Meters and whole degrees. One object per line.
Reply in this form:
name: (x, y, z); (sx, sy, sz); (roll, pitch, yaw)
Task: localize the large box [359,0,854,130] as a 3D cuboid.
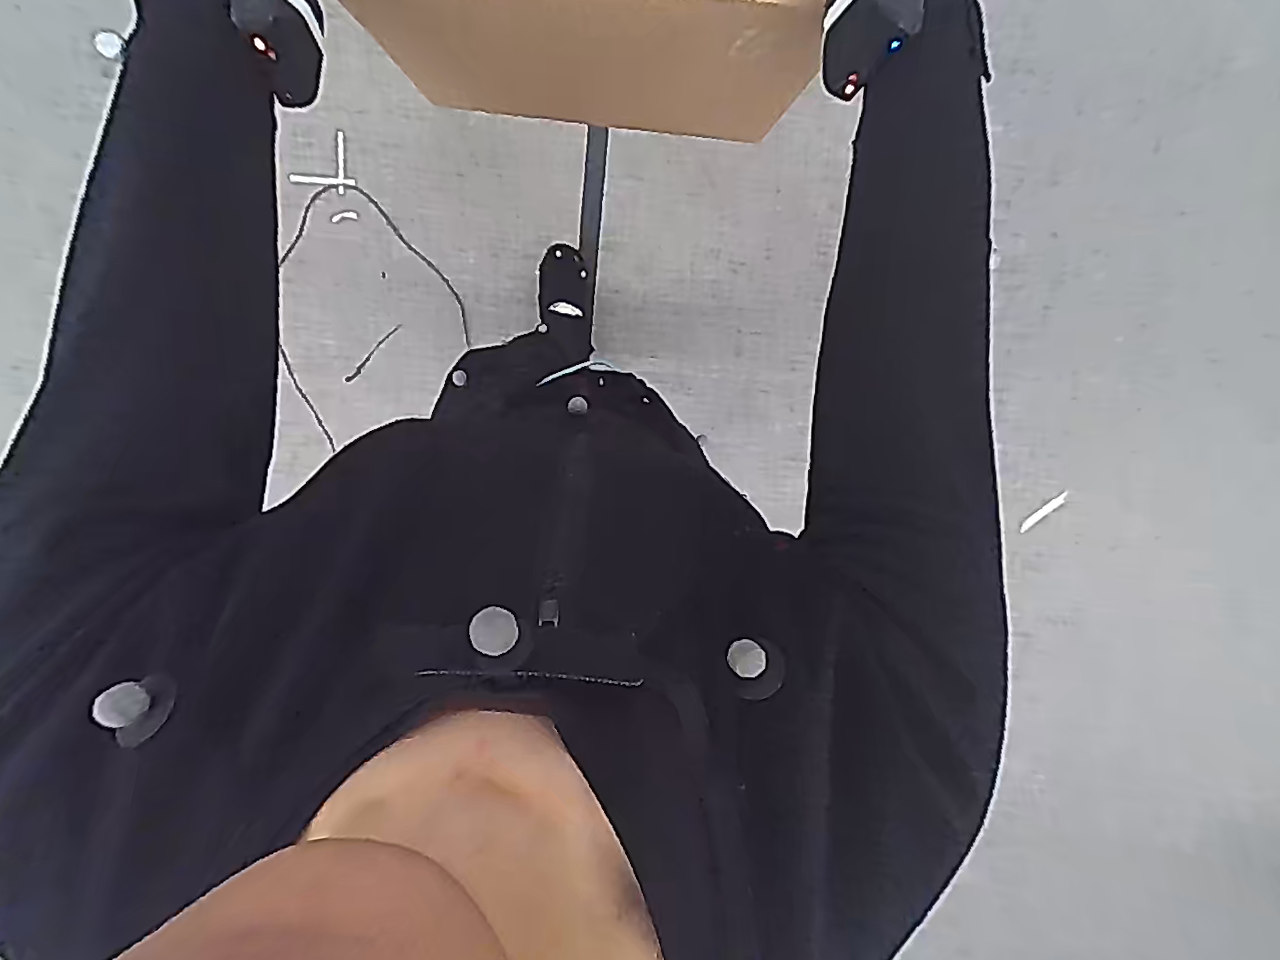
large box: (-0.032, -0.548, 0.479); (0.408, 0.320, 0.320); (4, 108, -4)
